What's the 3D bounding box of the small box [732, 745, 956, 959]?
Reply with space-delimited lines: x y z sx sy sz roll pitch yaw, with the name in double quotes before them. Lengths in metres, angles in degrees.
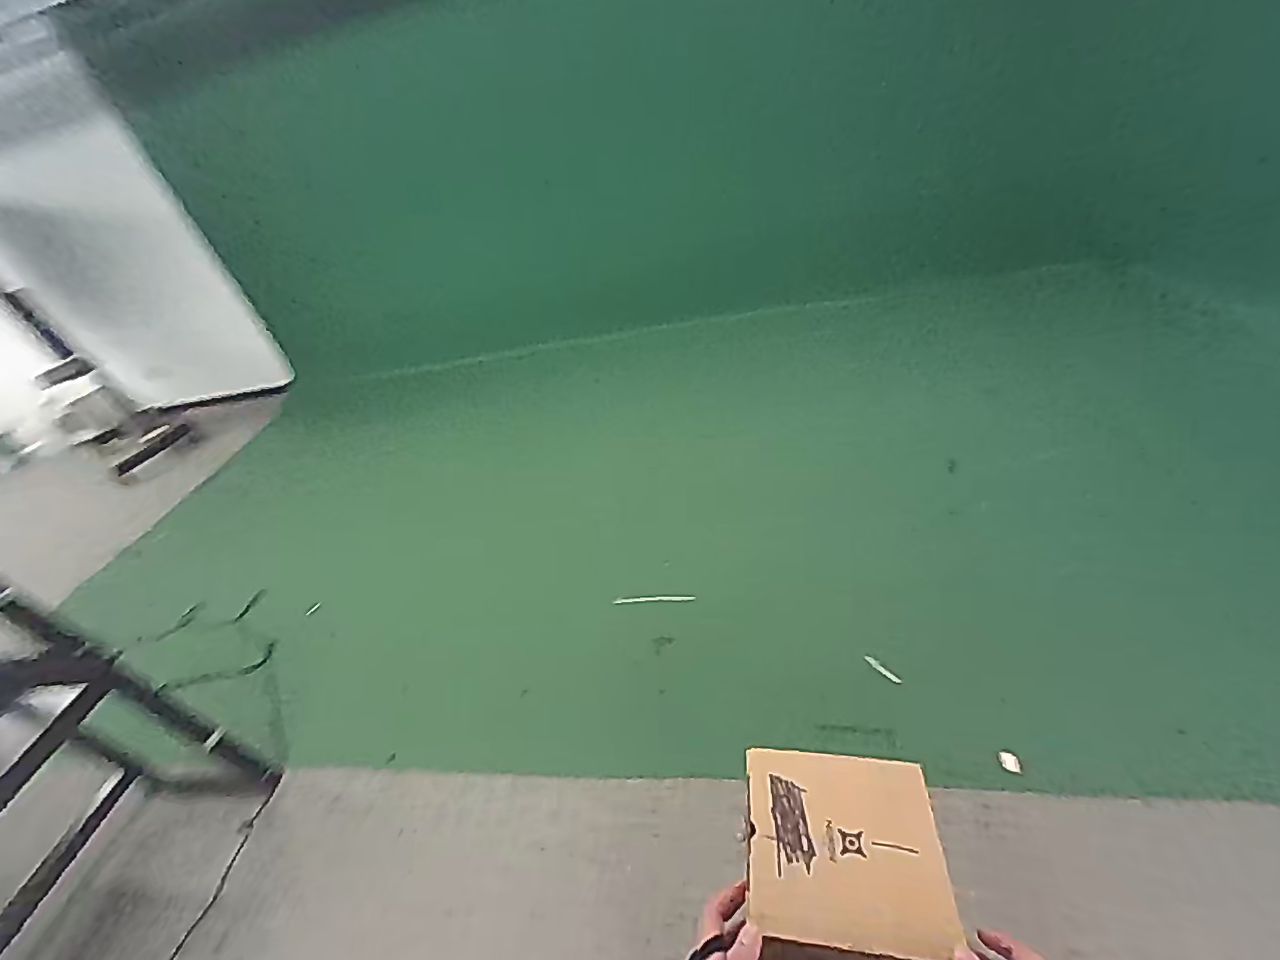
"small box" 0.186 0.397 0.545 0.179 0.176 0.168 0 34 11
